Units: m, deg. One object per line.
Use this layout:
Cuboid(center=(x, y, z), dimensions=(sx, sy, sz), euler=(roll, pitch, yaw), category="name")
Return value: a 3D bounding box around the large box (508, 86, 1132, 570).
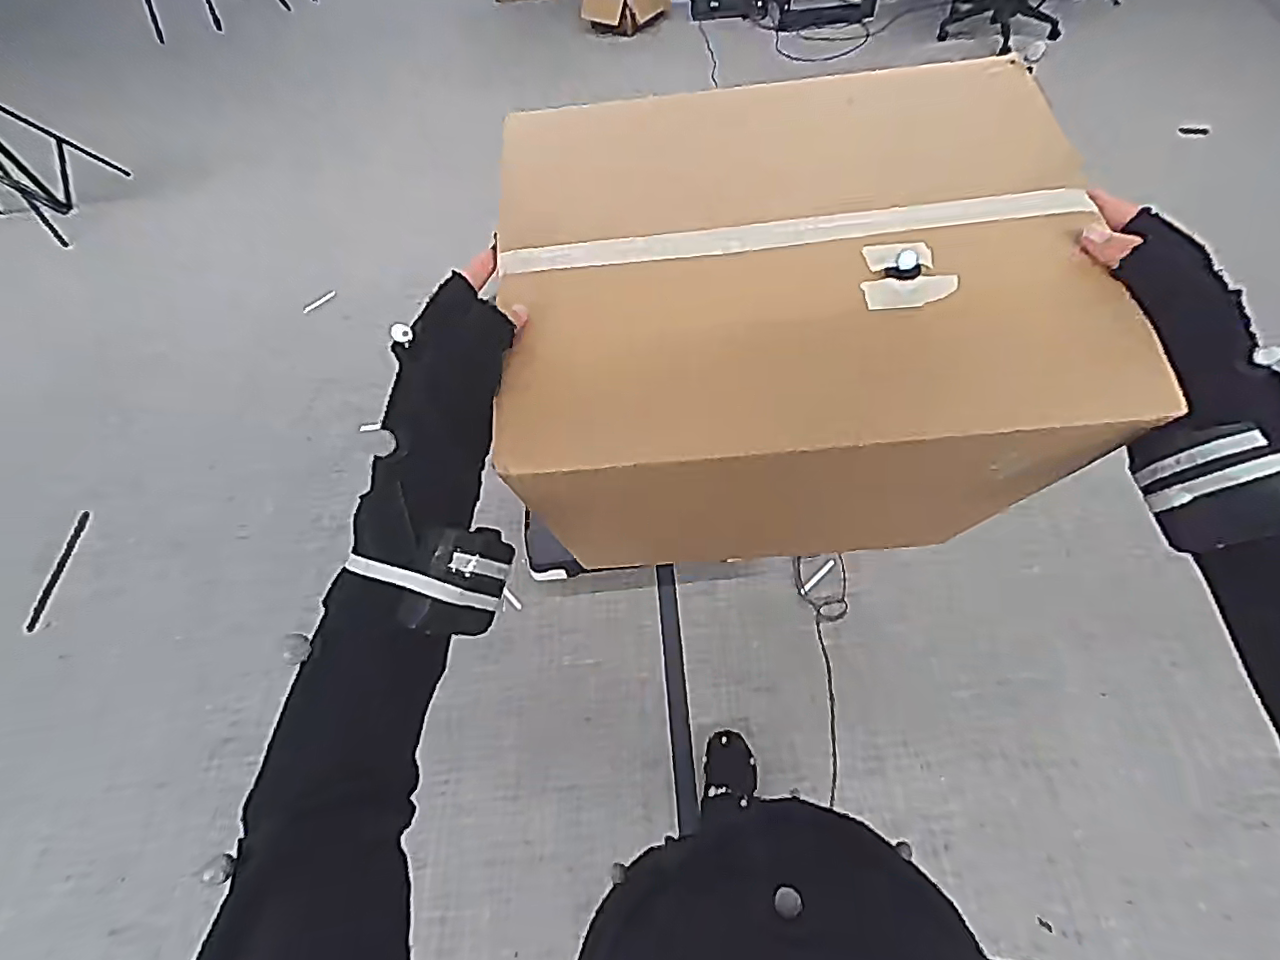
Cuboid(center=(0.108, -0.109, 0.534), dimensions=(0.408, 0.320, 0.320), euler=(-5, 69, 3), category="large box")
